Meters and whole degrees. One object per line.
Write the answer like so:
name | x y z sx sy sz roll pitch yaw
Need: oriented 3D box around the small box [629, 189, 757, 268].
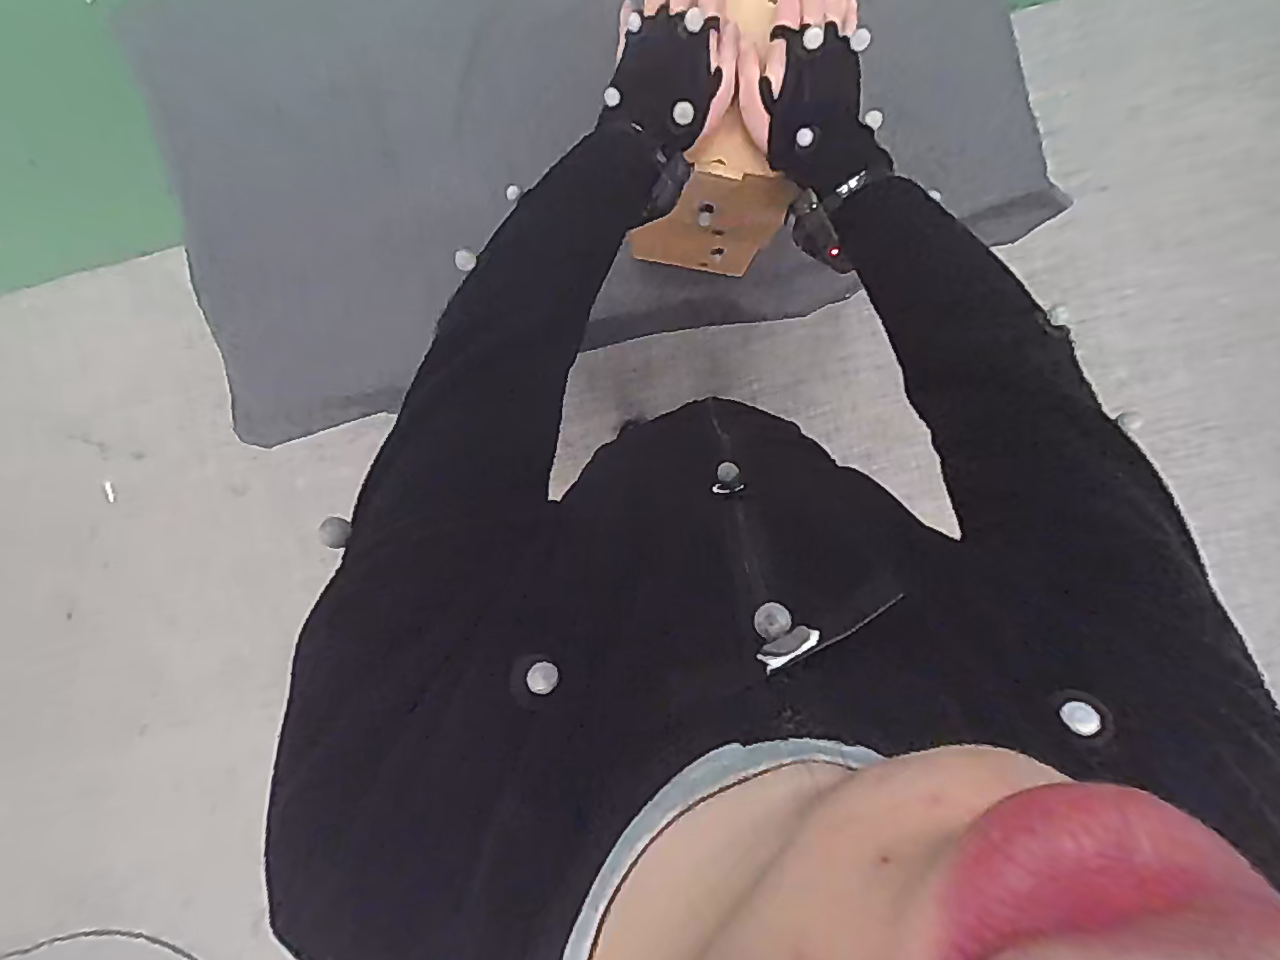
small box | 0.083 -0.394 0.703 0.168 0.176 0.179 10 94 -1

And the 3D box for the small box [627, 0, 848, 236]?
small box | 0.085 -0.367 0.543 0.168 0.176 0.179 10 97 -2
